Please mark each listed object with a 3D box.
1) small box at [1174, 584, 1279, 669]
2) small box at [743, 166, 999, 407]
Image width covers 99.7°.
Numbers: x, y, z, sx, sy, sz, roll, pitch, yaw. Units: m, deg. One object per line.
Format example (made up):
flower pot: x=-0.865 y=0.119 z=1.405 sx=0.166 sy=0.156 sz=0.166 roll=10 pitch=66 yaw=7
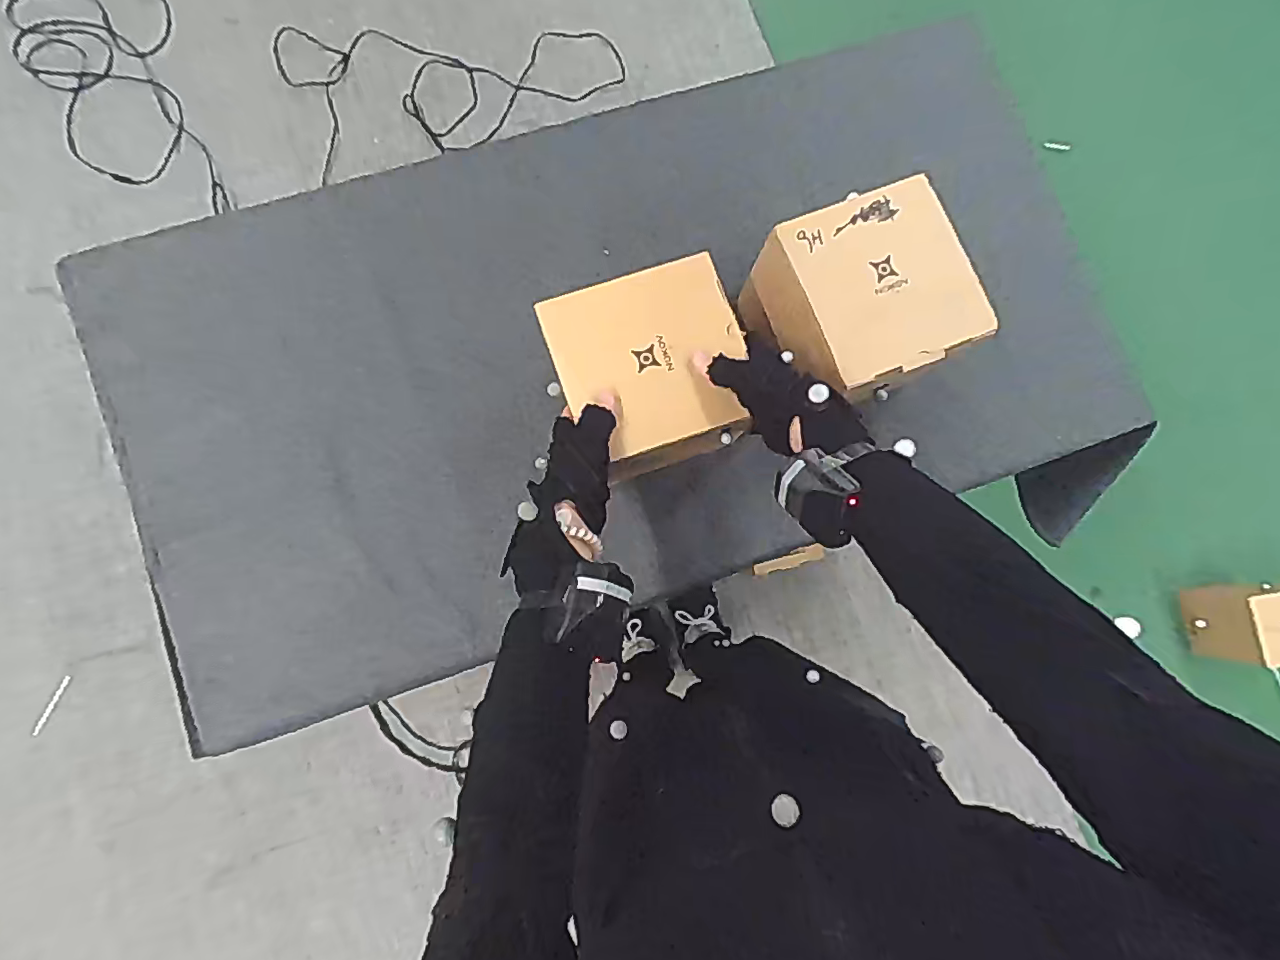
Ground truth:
small box: x=1.494 y=0.354 z=1.332 sx=0.179 sy=0.176 sz=0.168 roll=-7 pitch=83 yaw=-3
small box: x=0.233 y=-0.191 z=0.592 sx=0.168 sy=0.176 sz=0.179 roll=-20 pitch=86 yaw=-6
